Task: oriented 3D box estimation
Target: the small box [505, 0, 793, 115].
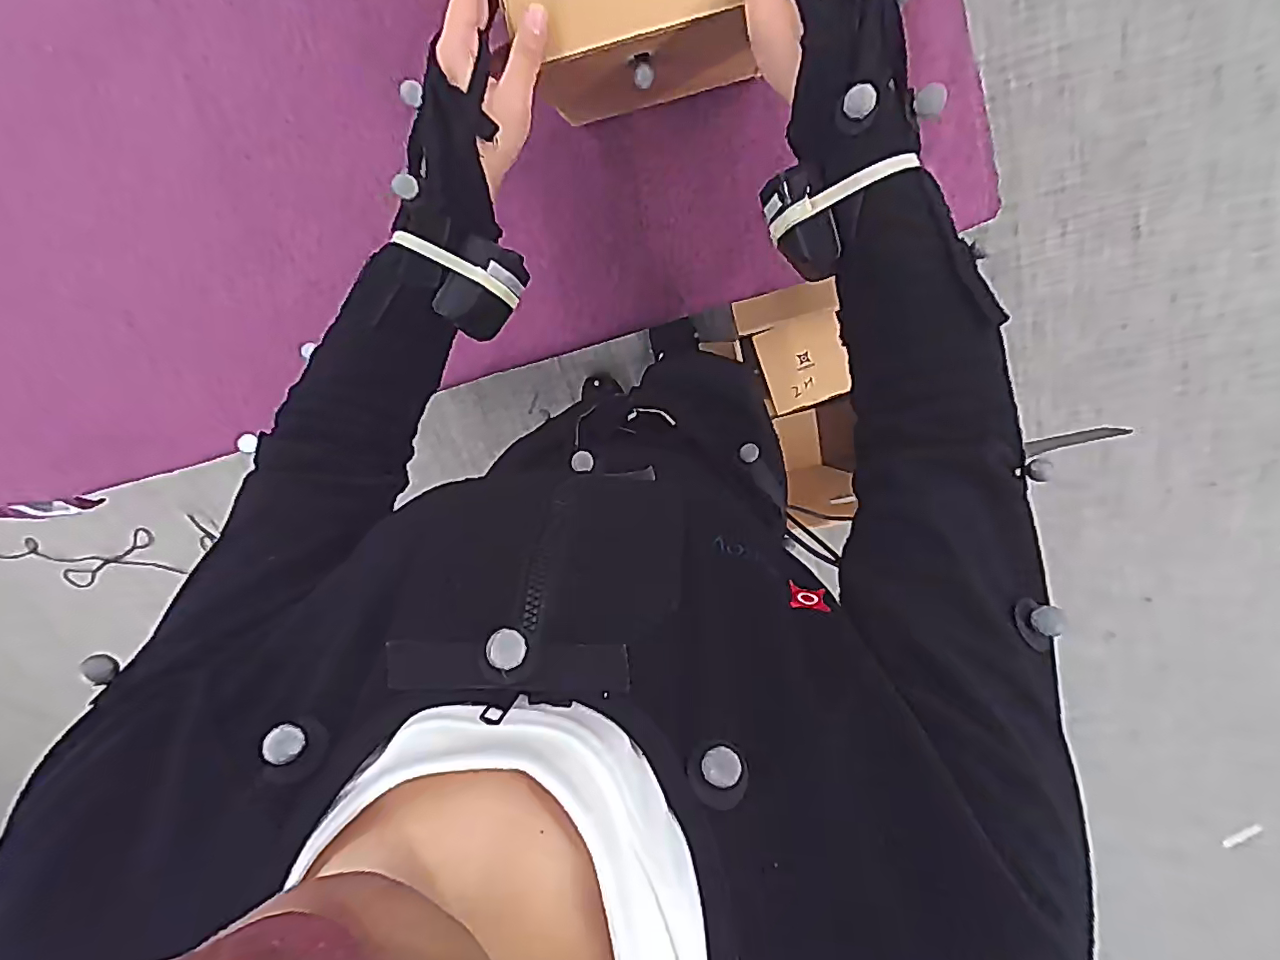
[{"bbox_3d":[0.001,-0.379,0.372,0.179,0.176,0.168,-8,113,11],"label":"small box"}]
